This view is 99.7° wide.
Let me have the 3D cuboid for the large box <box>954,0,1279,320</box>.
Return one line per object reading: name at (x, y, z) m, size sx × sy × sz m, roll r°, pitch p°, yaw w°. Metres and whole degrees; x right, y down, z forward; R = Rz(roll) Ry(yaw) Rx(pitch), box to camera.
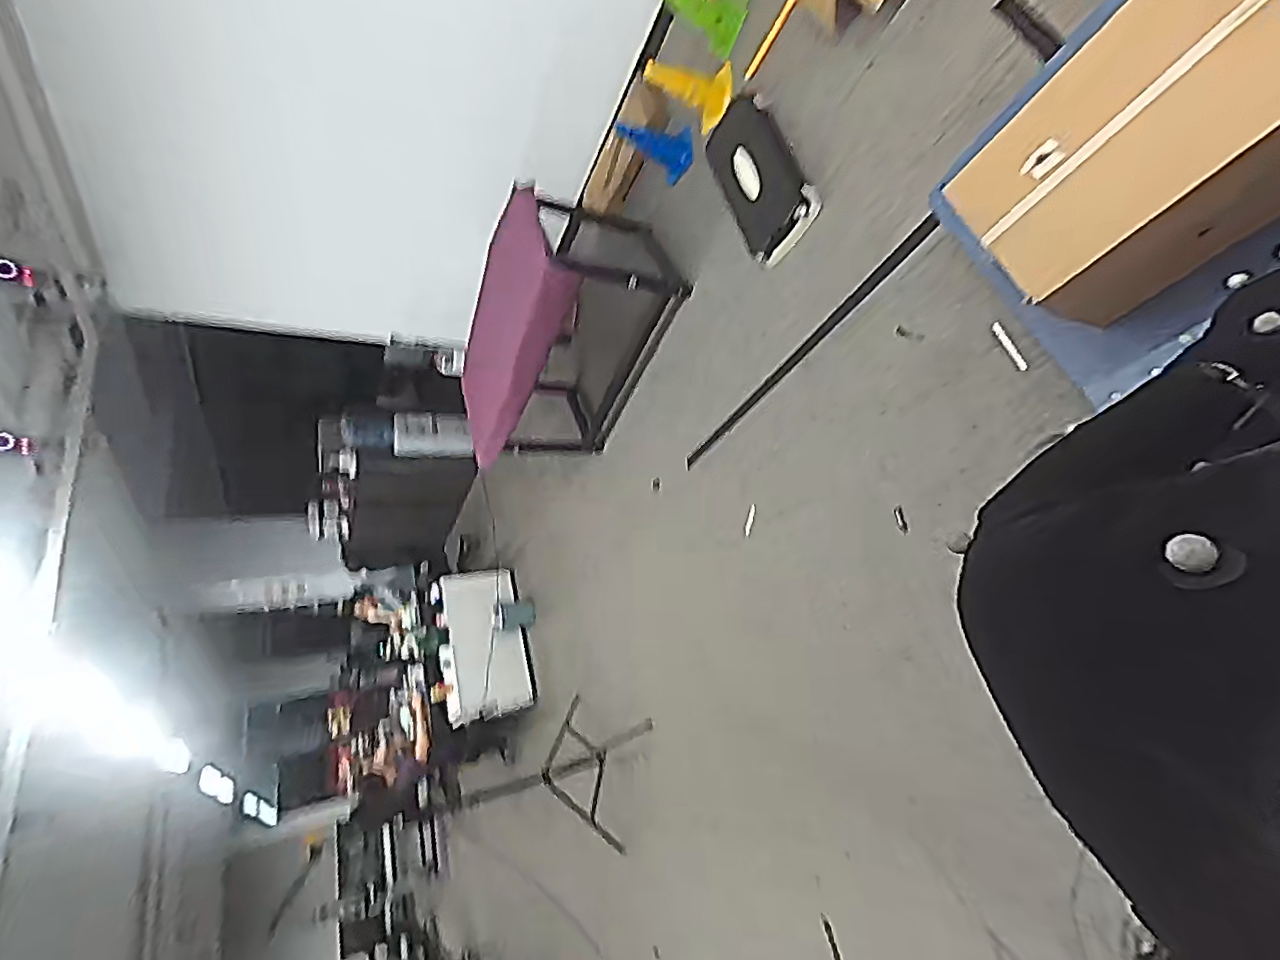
large box at (0.867, -0.542, 0.925) m, size 0.408 × 0.320 × 0.320 m, roll -49°, pitch 50°, yaw 48°
